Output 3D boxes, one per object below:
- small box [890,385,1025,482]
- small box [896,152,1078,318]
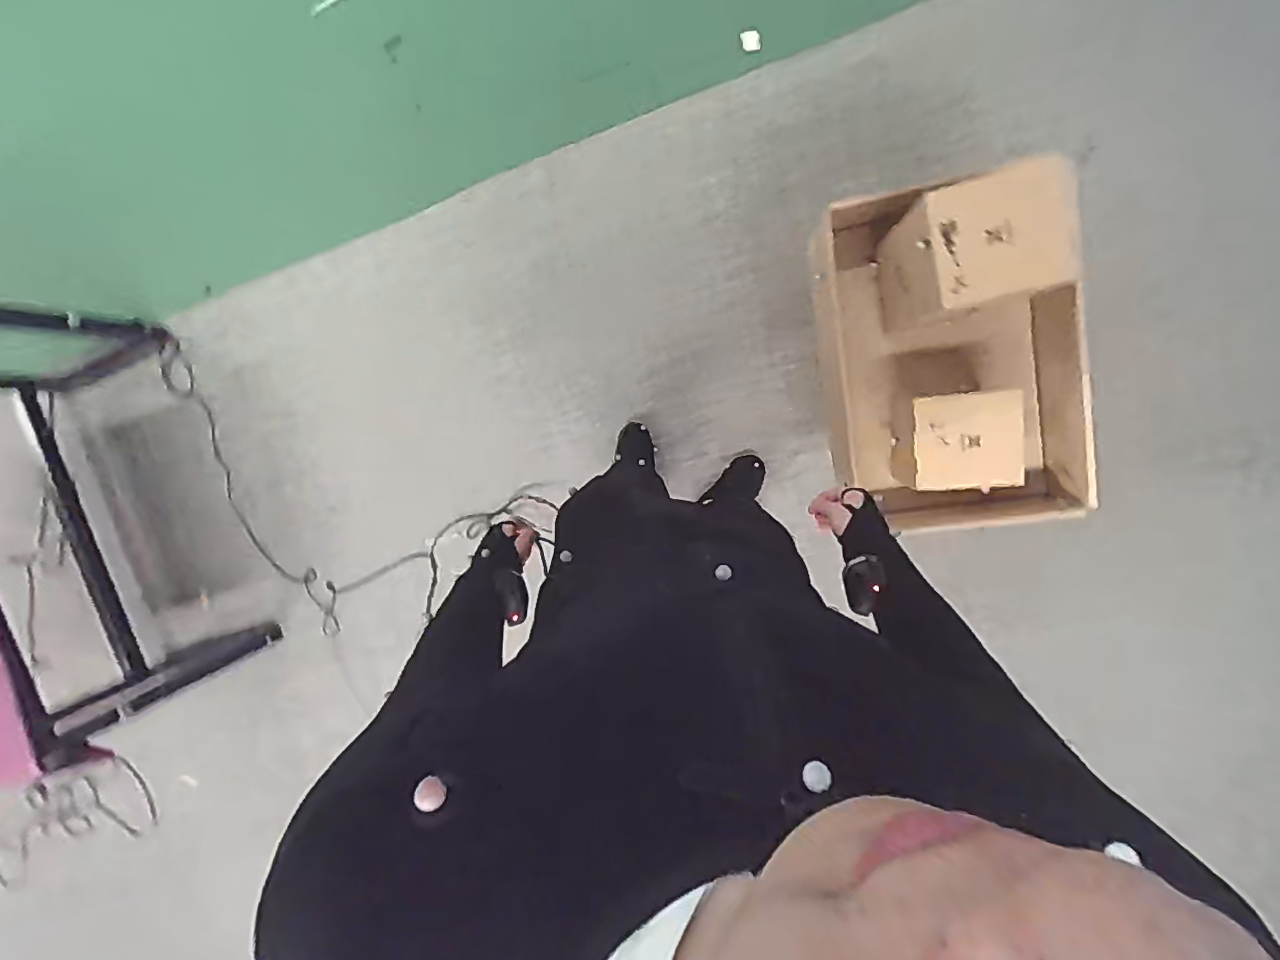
[{"bbox_3d":[0.588,-0.091,1.021,0.179,0.176,0.168,-3,98,12],"label":"small box"},{"bbox_3d":[0.515,-0.357,0.824,0.179,0.176,0.168,-10,95,13],"label":"small box"}]
